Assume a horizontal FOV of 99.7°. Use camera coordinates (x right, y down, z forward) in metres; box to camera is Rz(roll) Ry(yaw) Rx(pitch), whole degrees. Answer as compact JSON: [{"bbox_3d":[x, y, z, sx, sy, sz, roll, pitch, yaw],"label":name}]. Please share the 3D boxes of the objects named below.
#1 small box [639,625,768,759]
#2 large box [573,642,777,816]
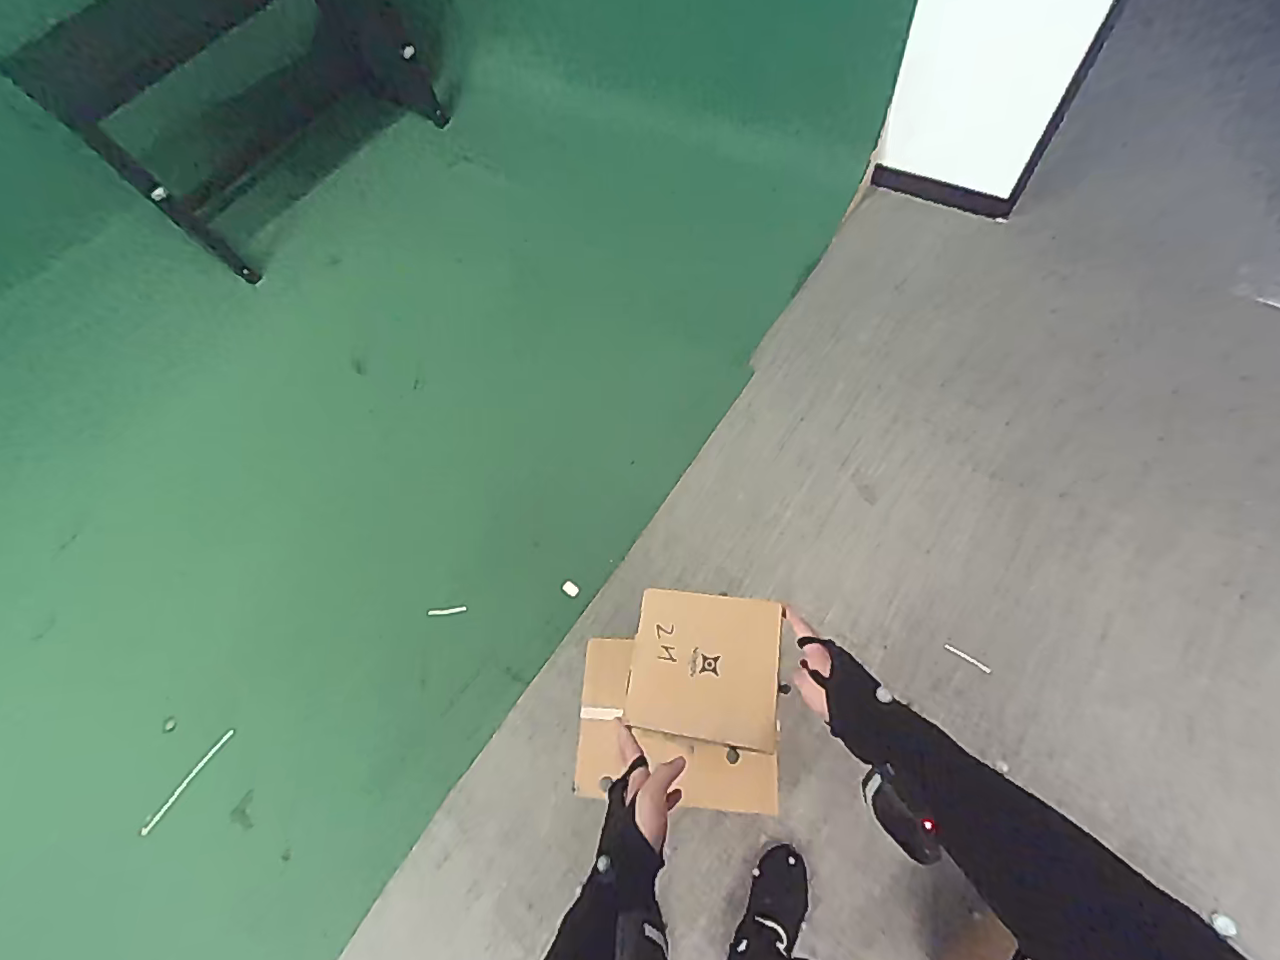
[{"bbox_3d":[0.107,0.344,0.879,0.179,0.176,0.168,6,67,11],"label":"small box"},{"bbox_3d":[0.094,0.555,1.240,0.408,0.320,0.320,-1,65,10],"label":"large box"}]
